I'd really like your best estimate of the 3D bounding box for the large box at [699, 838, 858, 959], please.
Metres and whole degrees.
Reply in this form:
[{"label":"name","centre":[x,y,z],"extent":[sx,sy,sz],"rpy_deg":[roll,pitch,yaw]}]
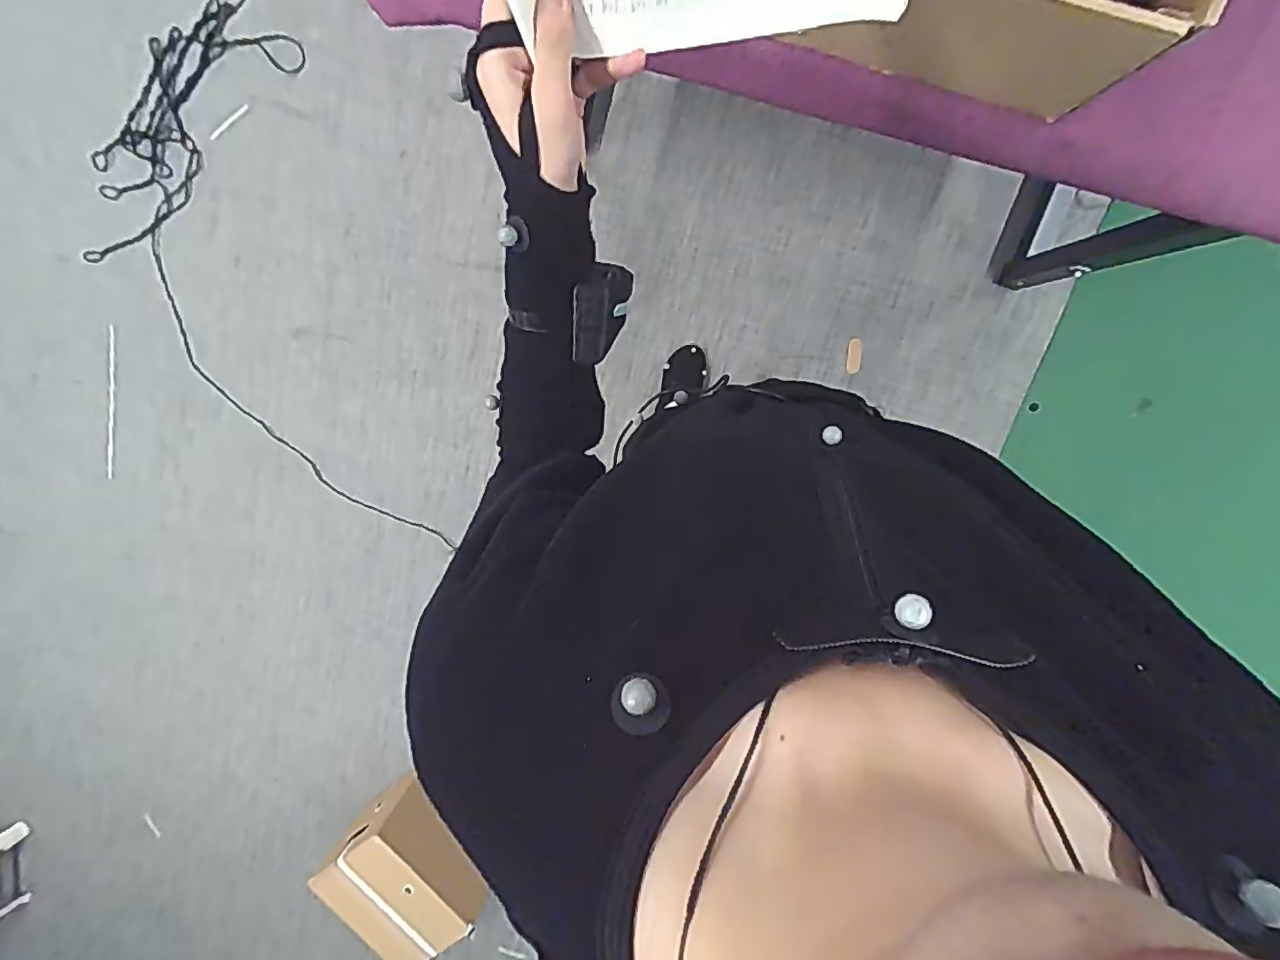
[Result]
[{"label":"large box","centre":[0.380,1.322,1.598],"extent":[0.408,0.320,0.320],"rpy_deg":[2,102,4]}]
